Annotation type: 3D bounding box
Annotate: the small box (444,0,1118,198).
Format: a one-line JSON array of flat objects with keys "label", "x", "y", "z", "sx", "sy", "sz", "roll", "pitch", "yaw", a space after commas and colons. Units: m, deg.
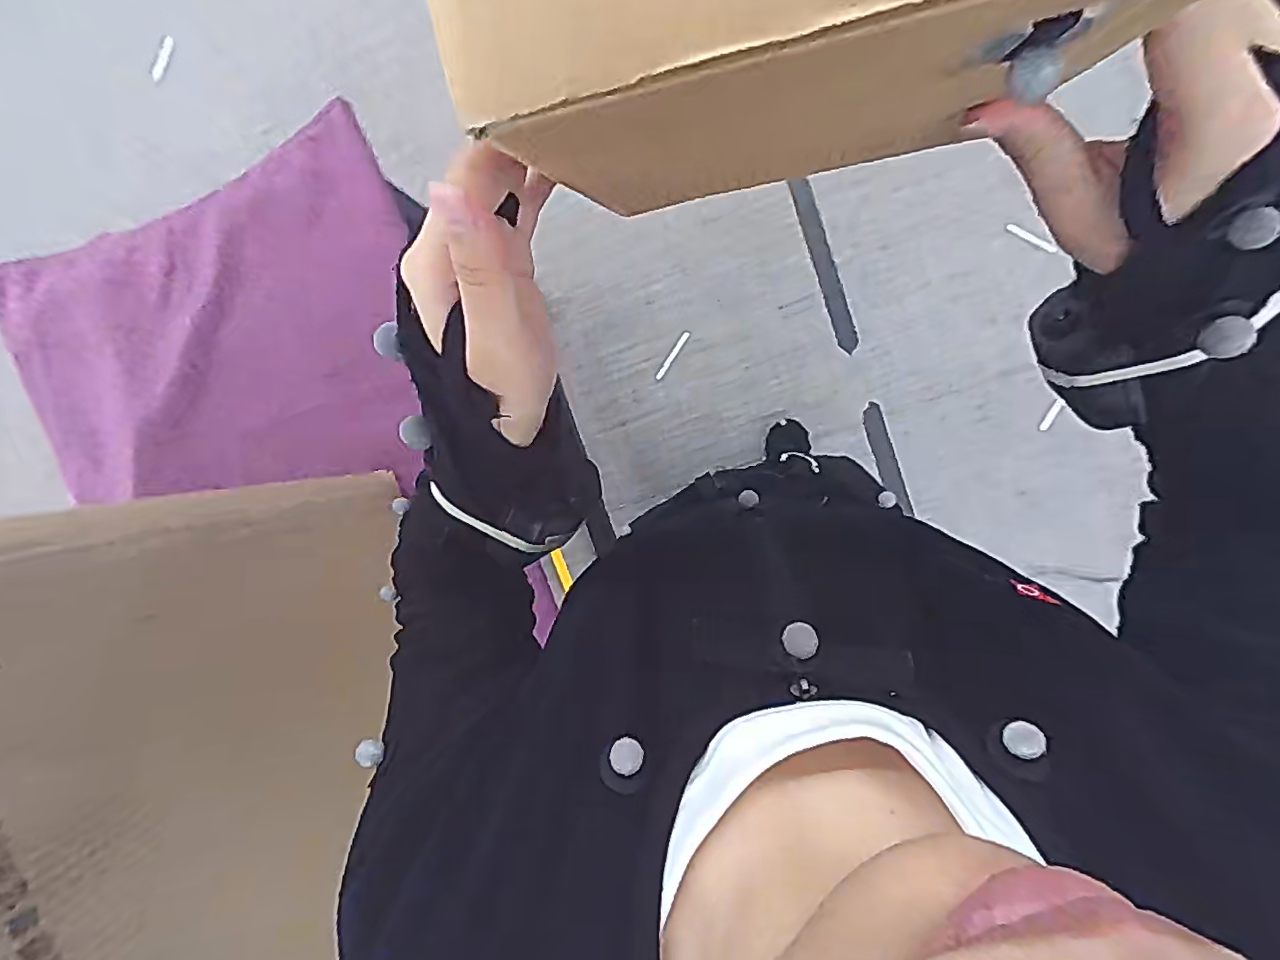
[{"label": "small box", "x": 0.044, "y": -0.199, "z": 0.160, "sx": 0.179, "sy": 0.176, "sz": 0.168, "roll": -7, "pitch": 108, "yaw": 12}]
